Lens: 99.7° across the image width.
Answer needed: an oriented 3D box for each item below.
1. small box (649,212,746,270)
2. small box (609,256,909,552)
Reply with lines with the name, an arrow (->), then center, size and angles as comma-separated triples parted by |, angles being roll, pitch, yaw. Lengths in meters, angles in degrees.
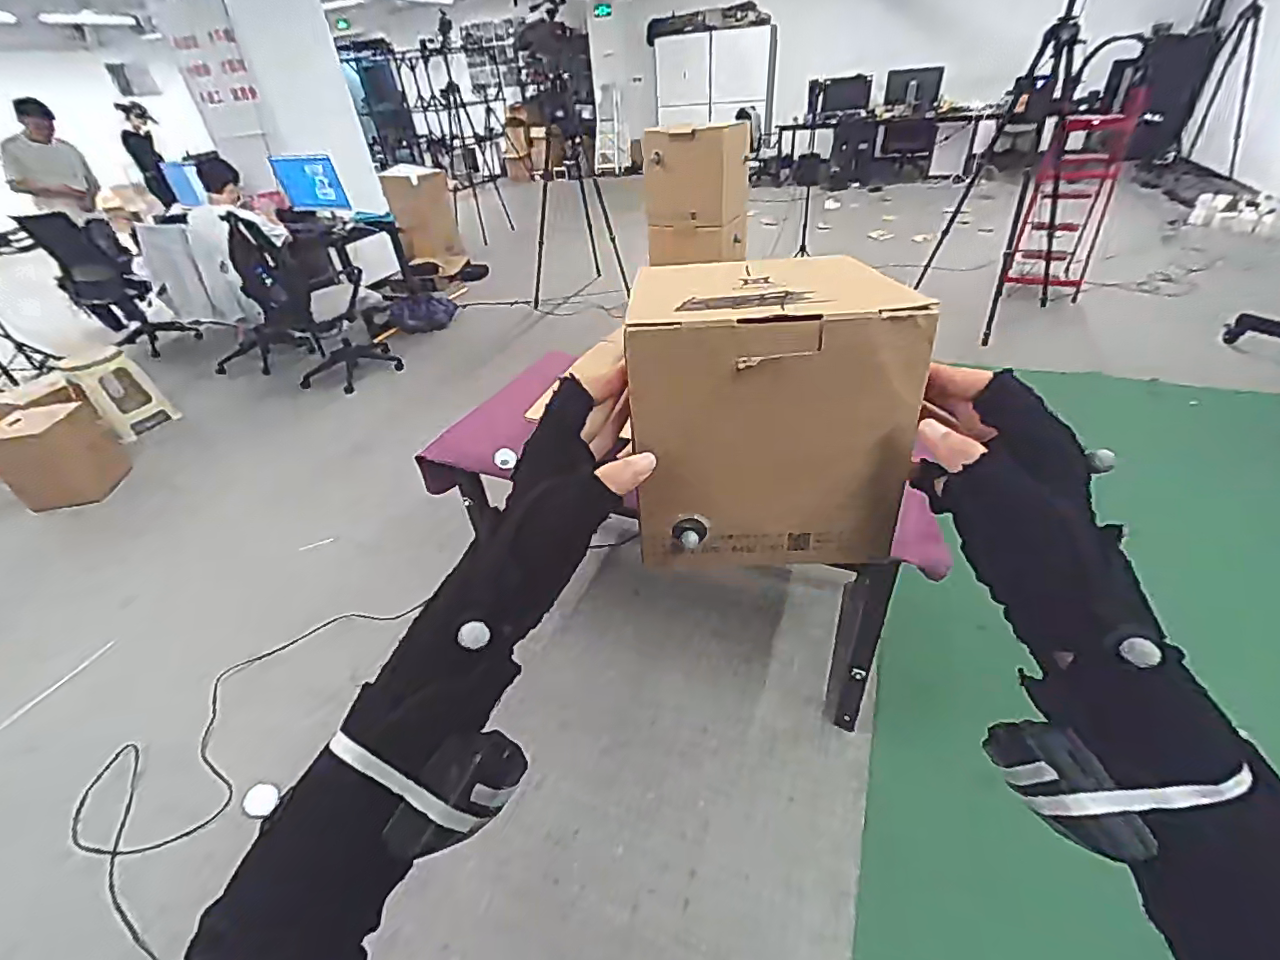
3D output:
small box -> 0.131, -0.490, 1.209 | 0.168, 0.176, 0.179 | 12, 40, 22
small box -> 0.074, -0.059, 0.403 | 0.168, 0.176, 0.179 | -2, 30, 4
